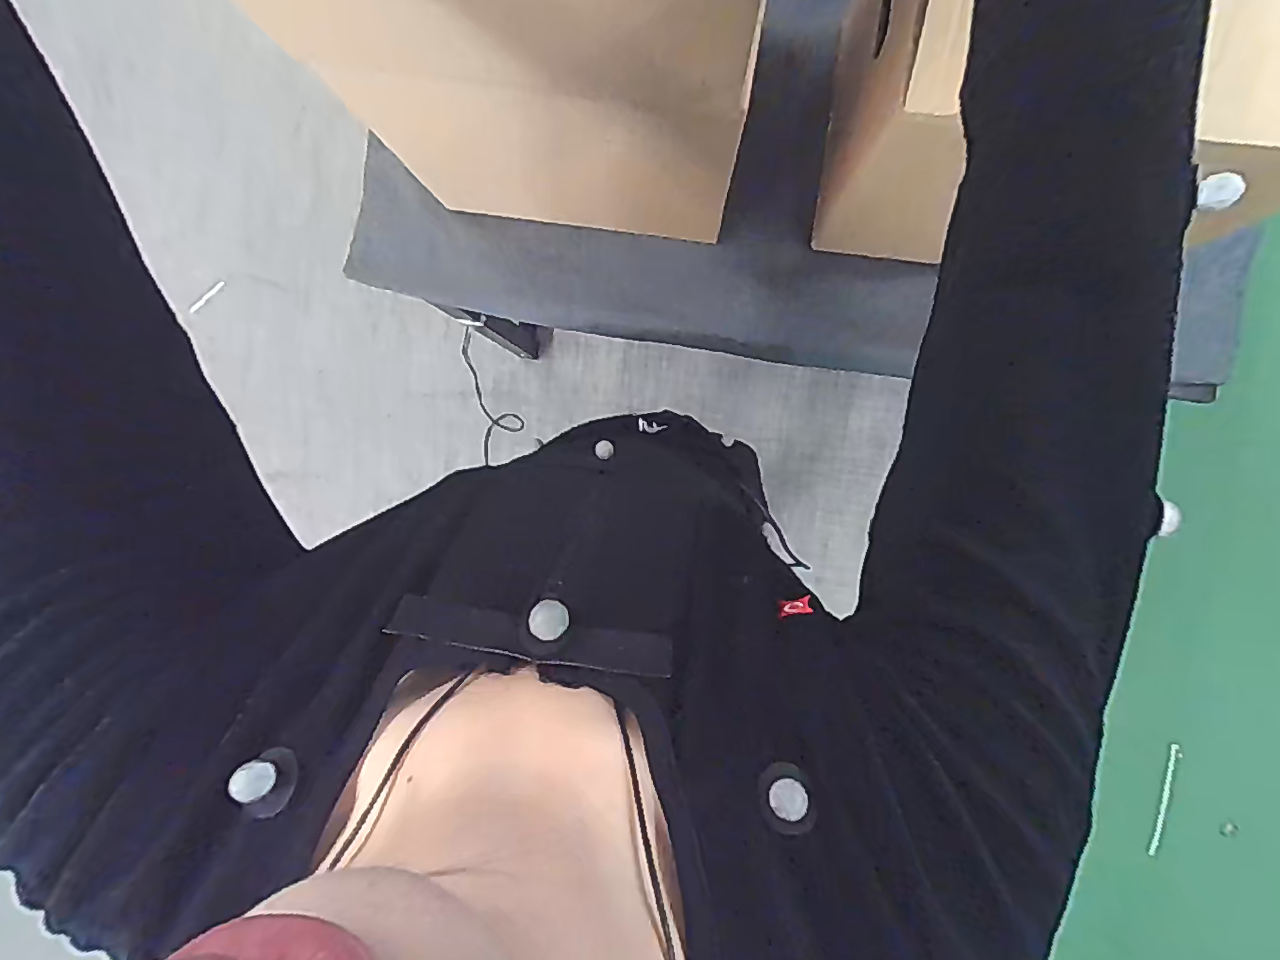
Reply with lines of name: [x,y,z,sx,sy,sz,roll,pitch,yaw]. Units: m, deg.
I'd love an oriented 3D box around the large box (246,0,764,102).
large box: [-0.098,-0.484,0.309,0.408,0.320,0.320,9,97,1]
